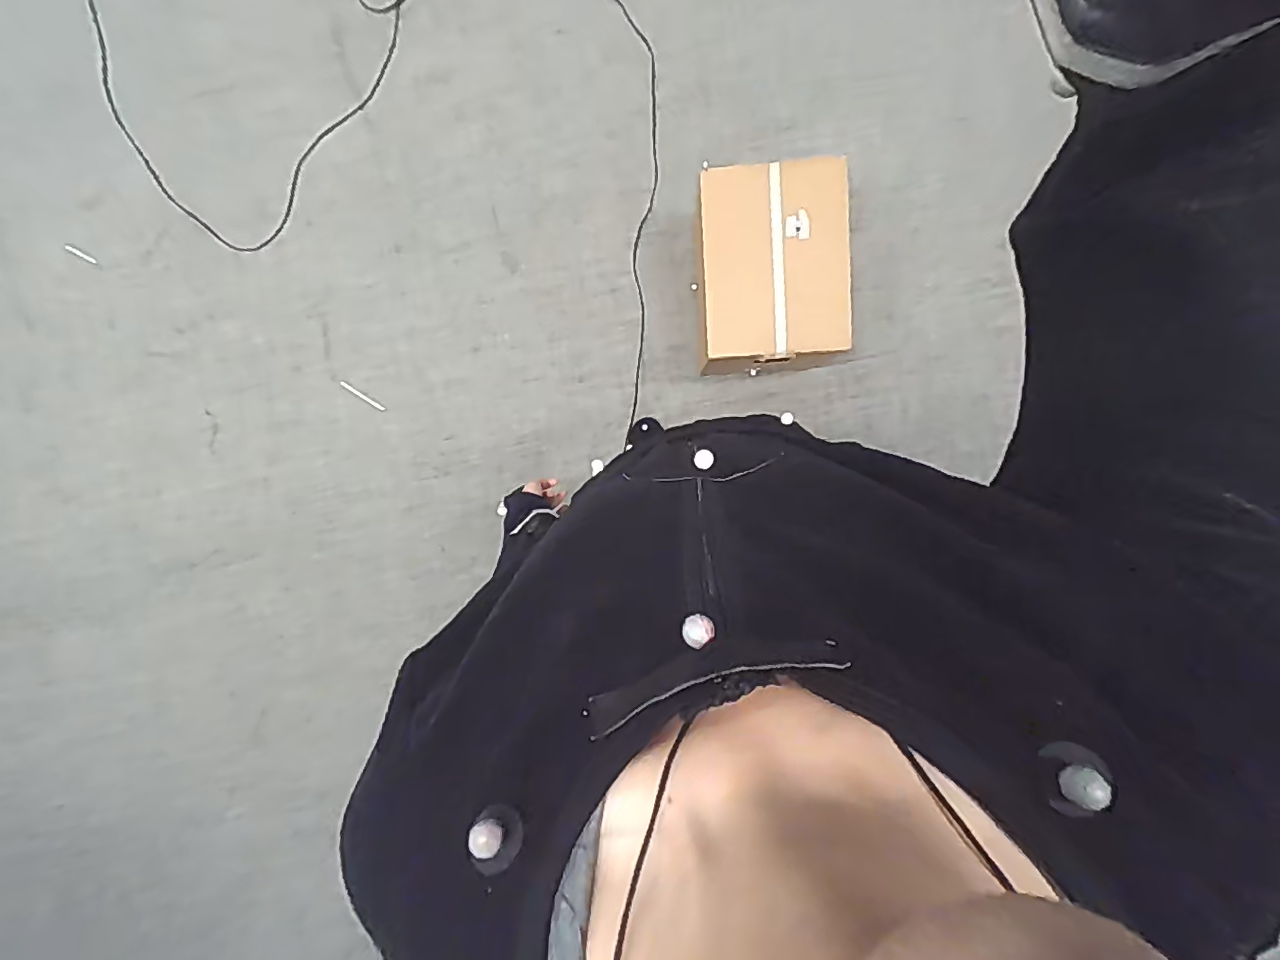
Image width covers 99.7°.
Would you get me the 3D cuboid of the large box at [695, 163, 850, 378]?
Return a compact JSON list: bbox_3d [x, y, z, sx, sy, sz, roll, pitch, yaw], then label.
[{"bbox_3d":[0.300,-0.477,1.315,0.320,0.320,0.408,-2,93,3],"label":"large box"}]
